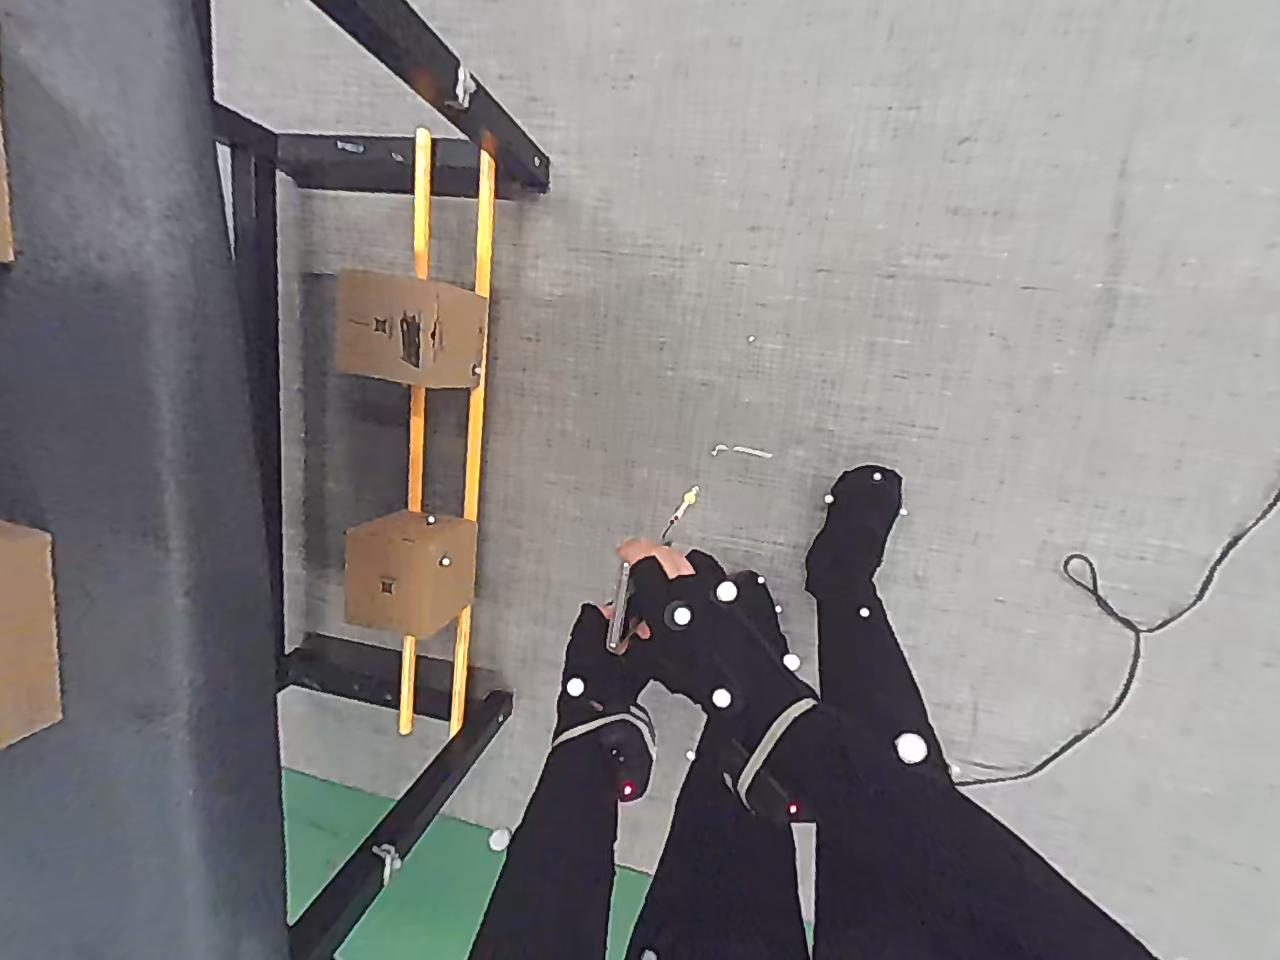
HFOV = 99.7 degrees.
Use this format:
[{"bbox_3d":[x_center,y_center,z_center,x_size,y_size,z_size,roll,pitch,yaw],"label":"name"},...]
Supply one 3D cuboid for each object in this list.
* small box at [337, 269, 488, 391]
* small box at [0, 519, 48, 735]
[{"bbox_3d":[-0.381,-0.251,0.928,0.179,0.176,0.168,12,101,10],"label":"small box"},{"bbox_3d":[-0.588,0.121,0.388,0.168,0.176,0.179,11,102,10],"label":"small box"}]
